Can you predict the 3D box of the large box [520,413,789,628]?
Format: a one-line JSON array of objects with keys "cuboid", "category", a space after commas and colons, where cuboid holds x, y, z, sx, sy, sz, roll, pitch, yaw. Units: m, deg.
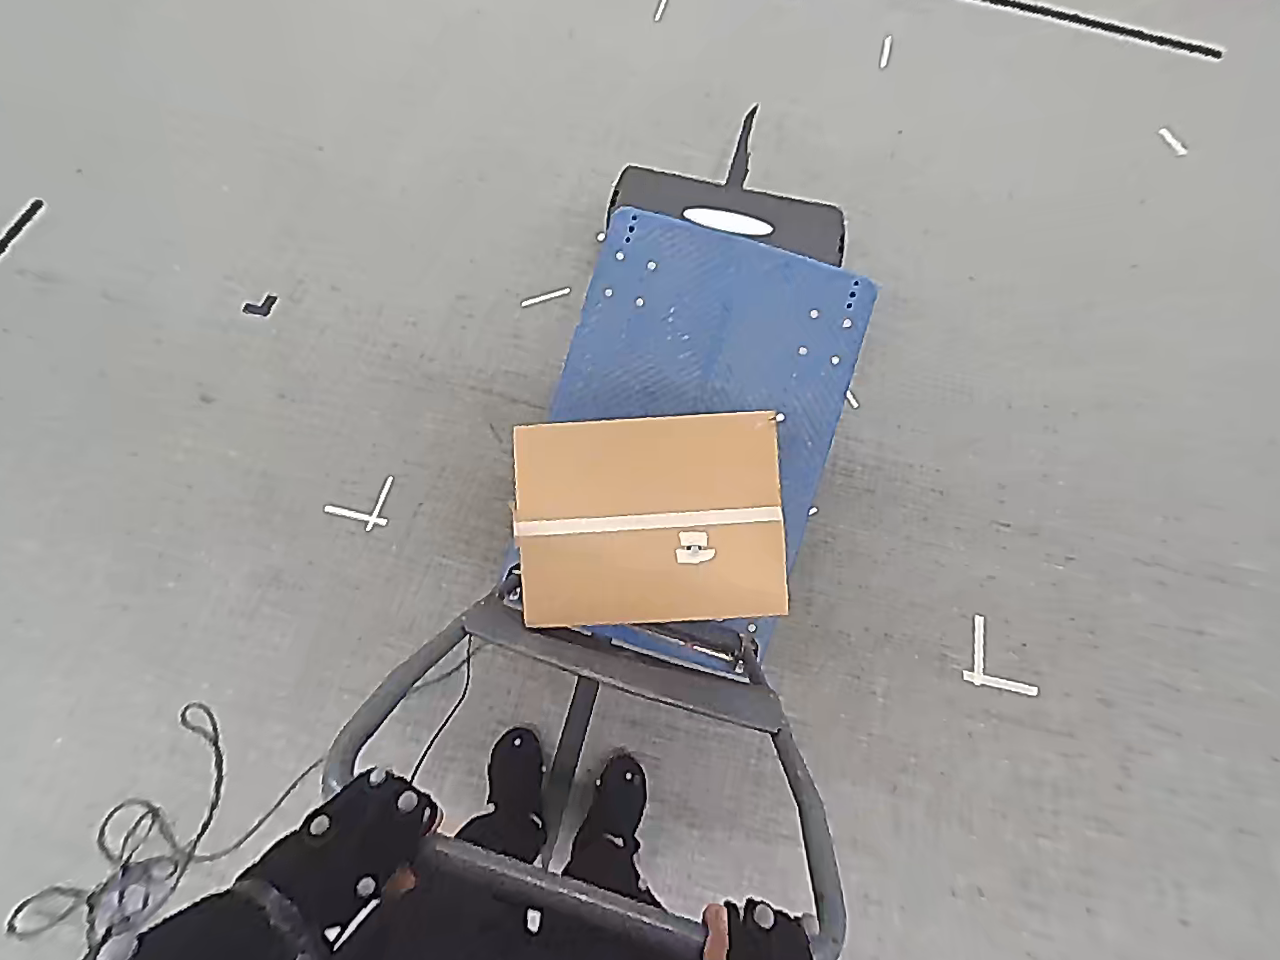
[{"cuboid": [0.021, 0.065, 0.979, 0.408, 0.320, 0.320, -3, 90, 1], "category": "large box"}]
